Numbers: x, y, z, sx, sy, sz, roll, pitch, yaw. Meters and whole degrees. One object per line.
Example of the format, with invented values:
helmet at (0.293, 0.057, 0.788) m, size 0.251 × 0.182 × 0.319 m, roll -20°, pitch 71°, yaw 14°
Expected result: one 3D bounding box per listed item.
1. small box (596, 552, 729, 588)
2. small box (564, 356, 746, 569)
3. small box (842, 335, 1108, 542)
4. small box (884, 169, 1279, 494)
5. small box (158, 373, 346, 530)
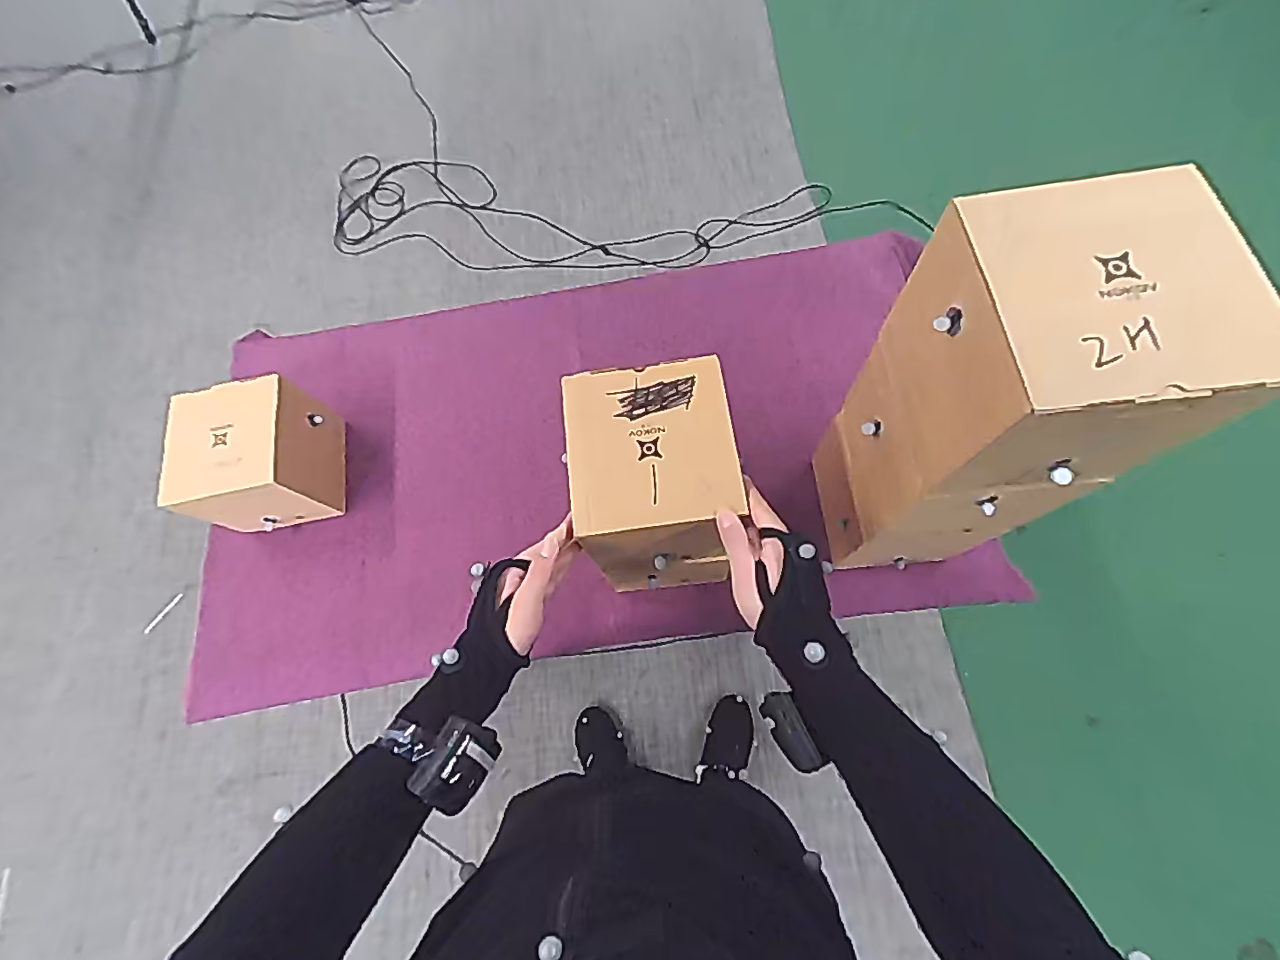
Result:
small box at (0.029, 0.050, 0.754) m, size 0.168 × 0.176 × 0.179 m, roll -6°, pitch 69°, yaw 3°
small box at (0.015, -0.010, 0.602) m, size 0.168 × 0.176 × 0.179 m, roll -8°, pitch 69°, yaw 3°
small box at (0.331, -0.043, 0.581) m, size 0.168 × 0.176 × 0.179 m, roll -5°, pitch 69°, yaw 4°
small box at (0.315, -0.102, 0.428) m, size 0.168 × 0.176 × 0.179 m, roll -6°, pitch 70°, yaw 4°
small box at (-0.582, -0.037, 0.837) m, size 0.168 × 0.176 × 0.179 m, roll -11°, pitch 71°, yaw 1°
